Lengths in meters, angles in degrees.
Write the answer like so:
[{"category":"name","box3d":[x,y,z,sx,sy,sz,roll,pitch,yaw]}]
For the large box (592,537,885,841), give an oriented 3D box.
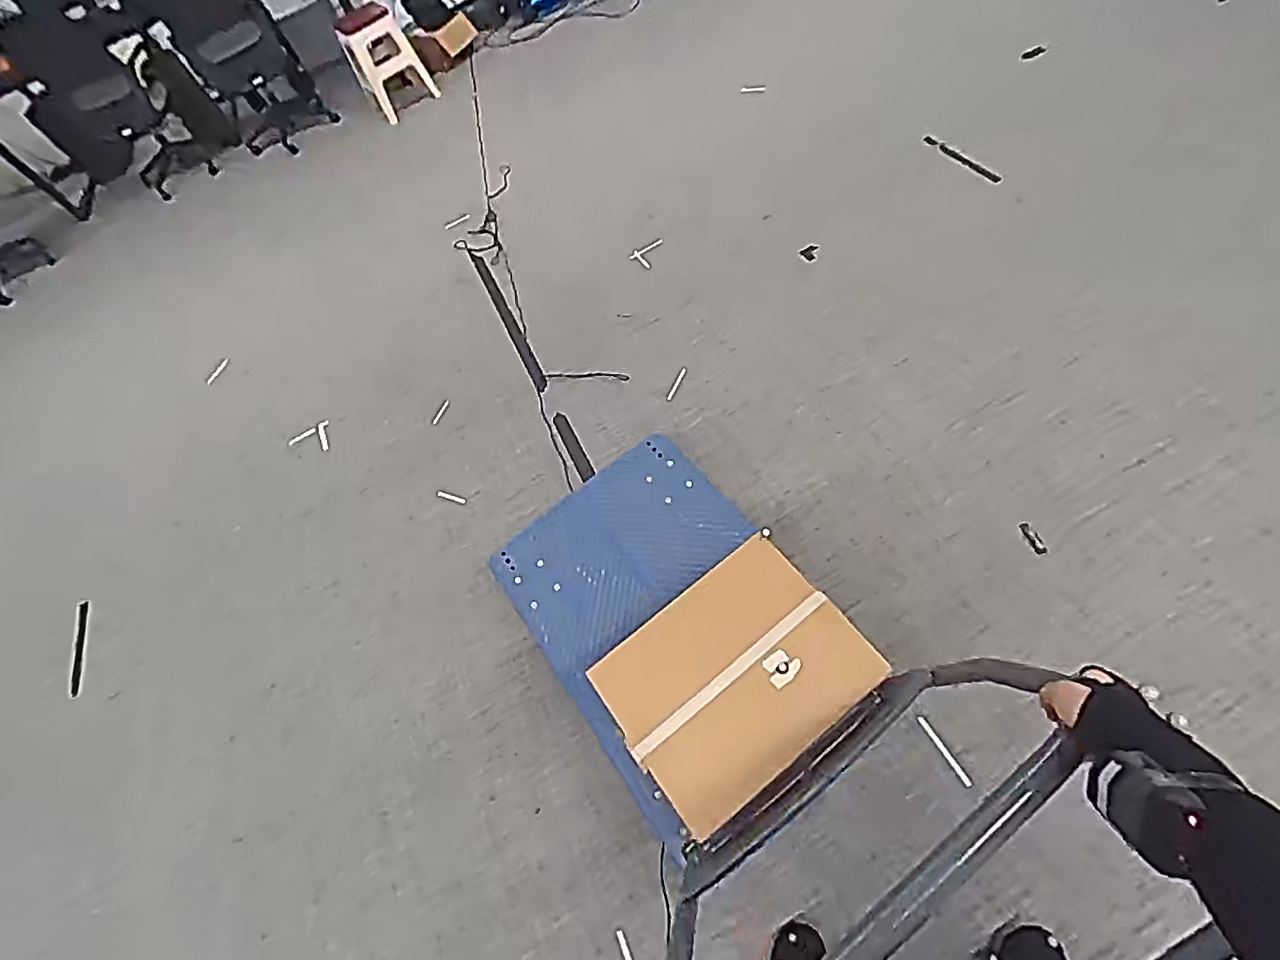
[{"category":"large box","box3d":[0.179,0.391,1.039,0.408,0.320,0.320,-38,64,-9]}]
